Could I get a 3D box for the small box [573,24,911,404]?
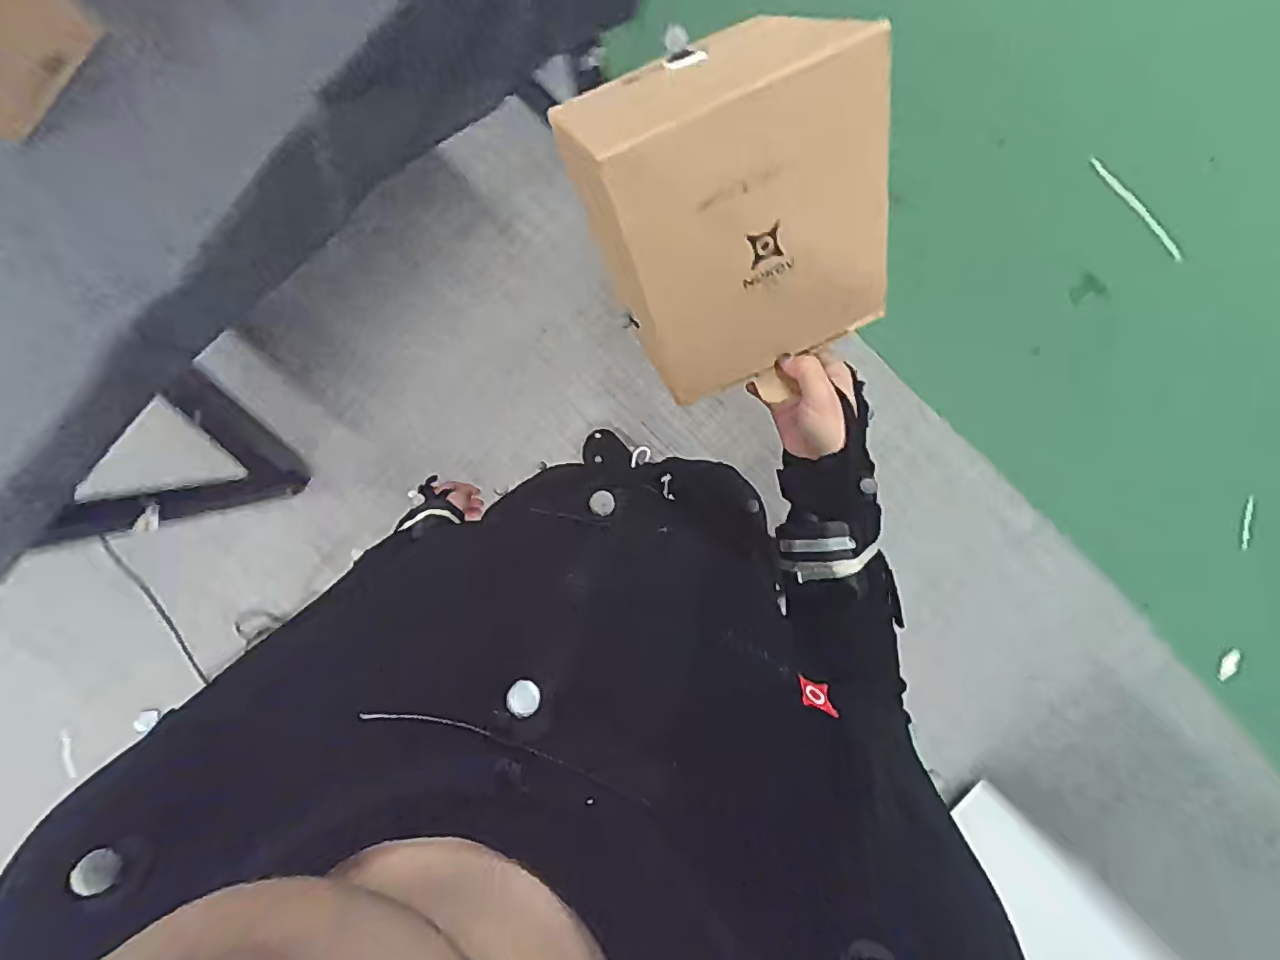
[{"bbox_3d":[0.066,-0.193,0.392,0.168,0.176,0.179,-24,133,1],"label":"small box"}]
